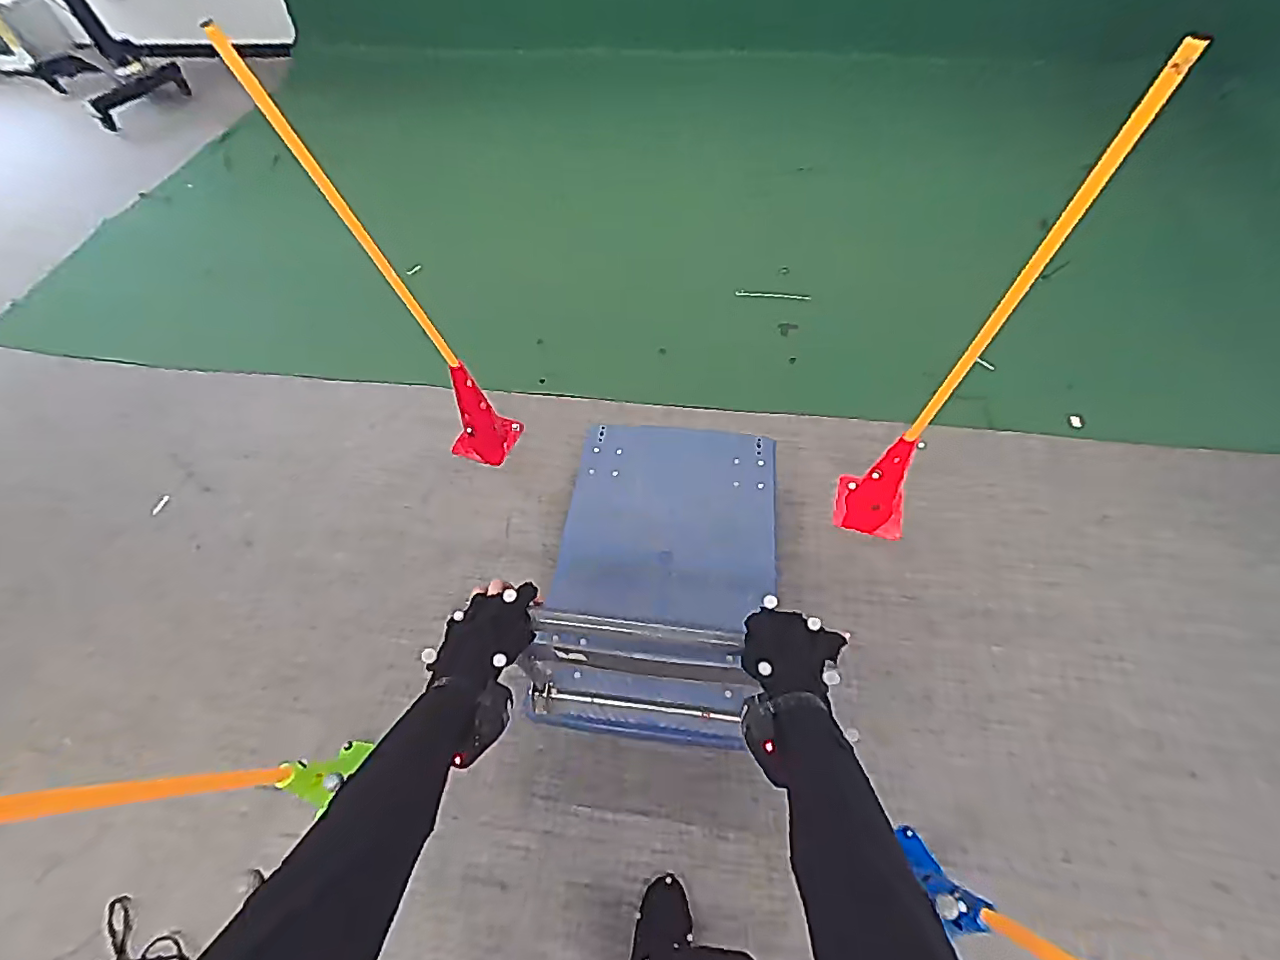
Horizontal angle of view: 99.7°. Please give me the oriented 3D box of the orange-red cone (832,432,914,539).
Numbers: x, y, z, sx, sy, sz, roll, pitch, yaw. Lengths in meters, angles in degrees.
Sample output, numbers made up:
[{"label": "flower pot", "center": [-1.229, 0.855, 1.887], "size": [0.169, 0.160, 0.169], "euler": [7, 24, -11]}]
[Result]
[{"label": "orange-red cone", "center": [0.706, -0.012, 1.551], "size": [0.198, 0.360, 0.199], "euler": [15, 59, 13]}]
